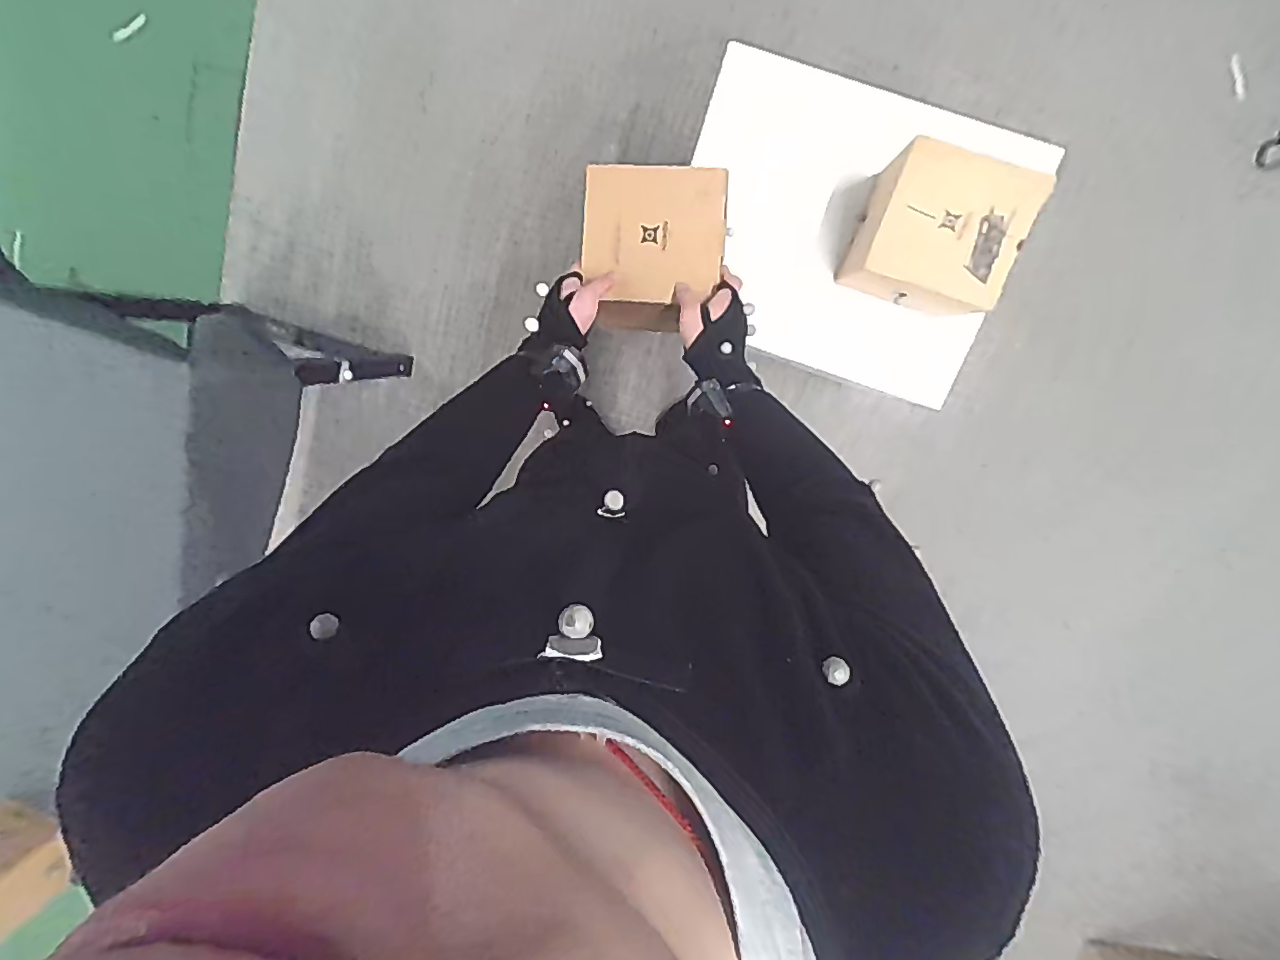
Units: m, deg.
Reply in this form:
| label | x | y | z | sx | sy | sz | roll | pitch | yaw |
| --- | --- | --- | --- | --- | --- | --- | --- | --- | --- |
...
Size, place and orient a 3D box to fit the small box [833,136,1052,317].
| label | x | y | z | sx | sy | sz | roll | pitch | yaw |
| --- | --- | --- | --- | --- | --- | --- | --- | --- | --- |
| small box | 0.396 | -0.332 | 0.745 | 0.179 | 0.176 | 0.168 | 20 | 104 | 1 |

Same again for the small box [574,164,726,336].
| label | x | y | z | sx | sy | sz | roll | pitch | yaw |
| --- | --- | --- | --- | --- | --- | --- | --- | --- | --- |
| small box | 0.017 | -0.295 | 0.723 | 0.179 | 0.176 | 0.168 | 3 | 92 | 5 |

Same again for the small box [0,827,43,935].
| label | x | y | z | sx | sy | sz | roll | pitch | yaw |
| --- | --- | --- | --- | --- | --- | --- | --- | --- | --- |
| small box | -1.296 | 0.786 | 1.018 | 0.168 | 0.176 | 0.179 | 19 | 103 | 1 |
